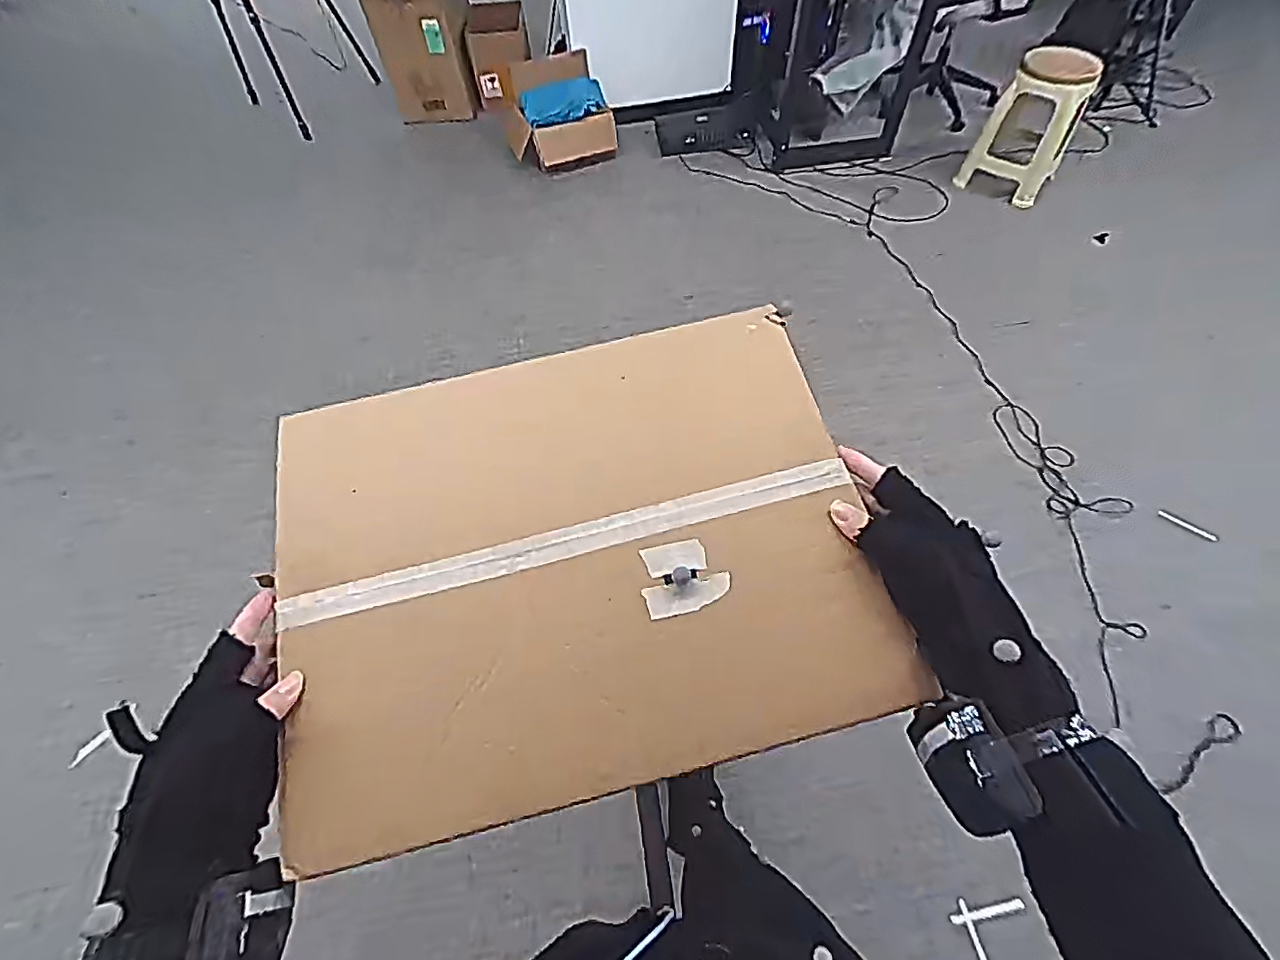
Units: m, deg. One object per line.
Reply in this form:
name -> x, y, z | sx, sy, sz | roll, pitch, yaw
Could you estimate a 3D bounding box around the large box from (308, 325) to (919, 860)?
large box -> -0.039, 0.106, 0.535 | 0.408, 0.320, 0.320 | -14, 68, -4
